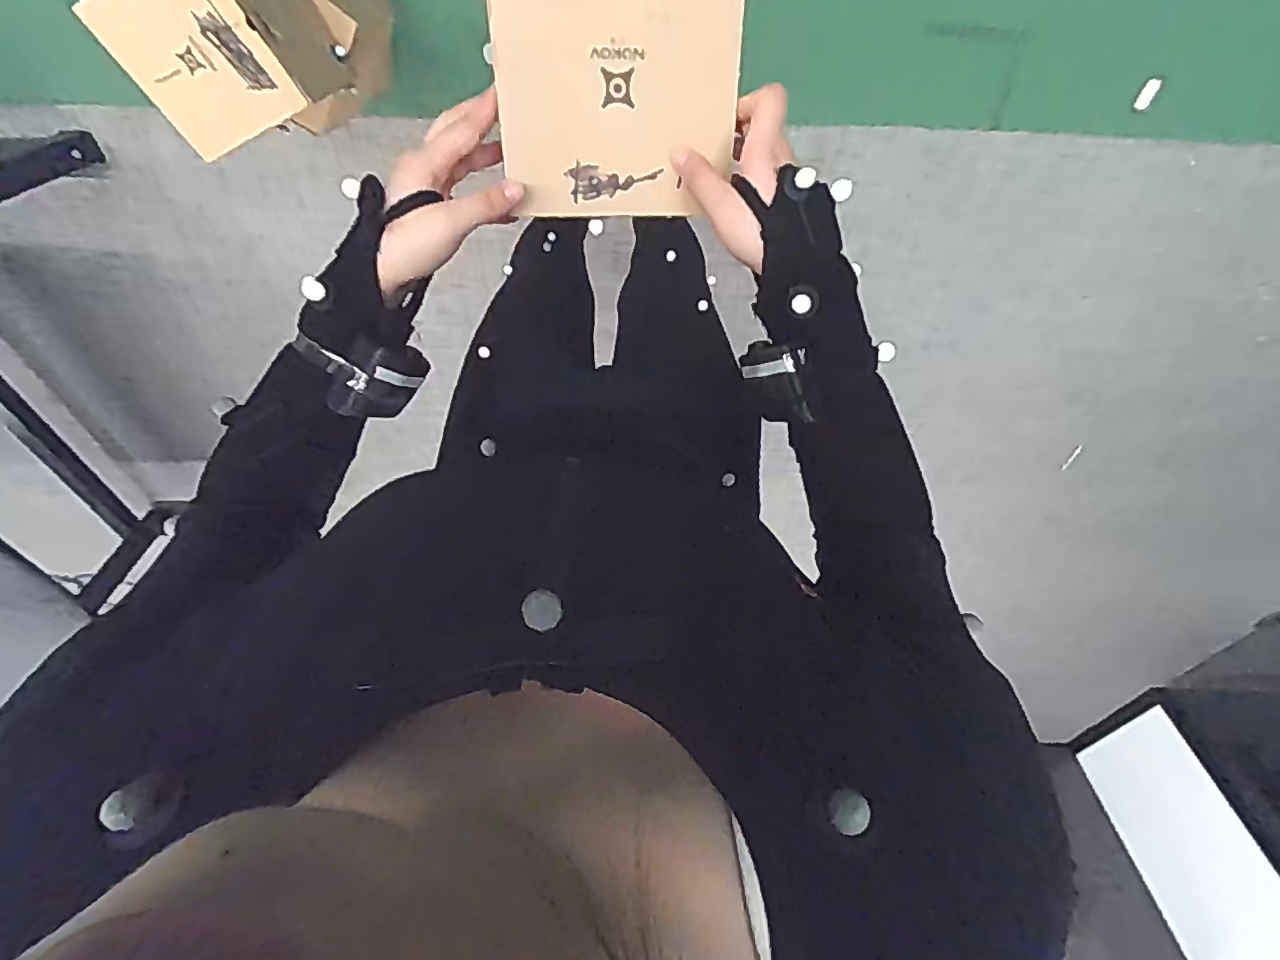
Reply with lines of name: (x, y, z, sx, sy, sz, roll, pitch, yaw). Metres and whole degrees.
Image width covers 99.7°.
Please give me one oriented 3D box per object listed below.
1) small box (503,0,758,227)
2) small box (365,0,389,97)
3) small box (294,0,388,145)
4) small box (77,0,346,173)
small box: (-0.017, -0.304, 0.431, 0.168, 0.176, 0.179, -3, 120, -7)
small box: (-0.525, -0.758, 0.894, 0.168, 0.176, 0.179, 12, 133, -13)
small box: (-0.492, -0.639, 0.784, 0.168, 0.176, 0.179, 28, 127, -28)
small box: (-0.499, -0.523, 0.667, 0.179, 0.176, 0.168, -15, 134, 15)
